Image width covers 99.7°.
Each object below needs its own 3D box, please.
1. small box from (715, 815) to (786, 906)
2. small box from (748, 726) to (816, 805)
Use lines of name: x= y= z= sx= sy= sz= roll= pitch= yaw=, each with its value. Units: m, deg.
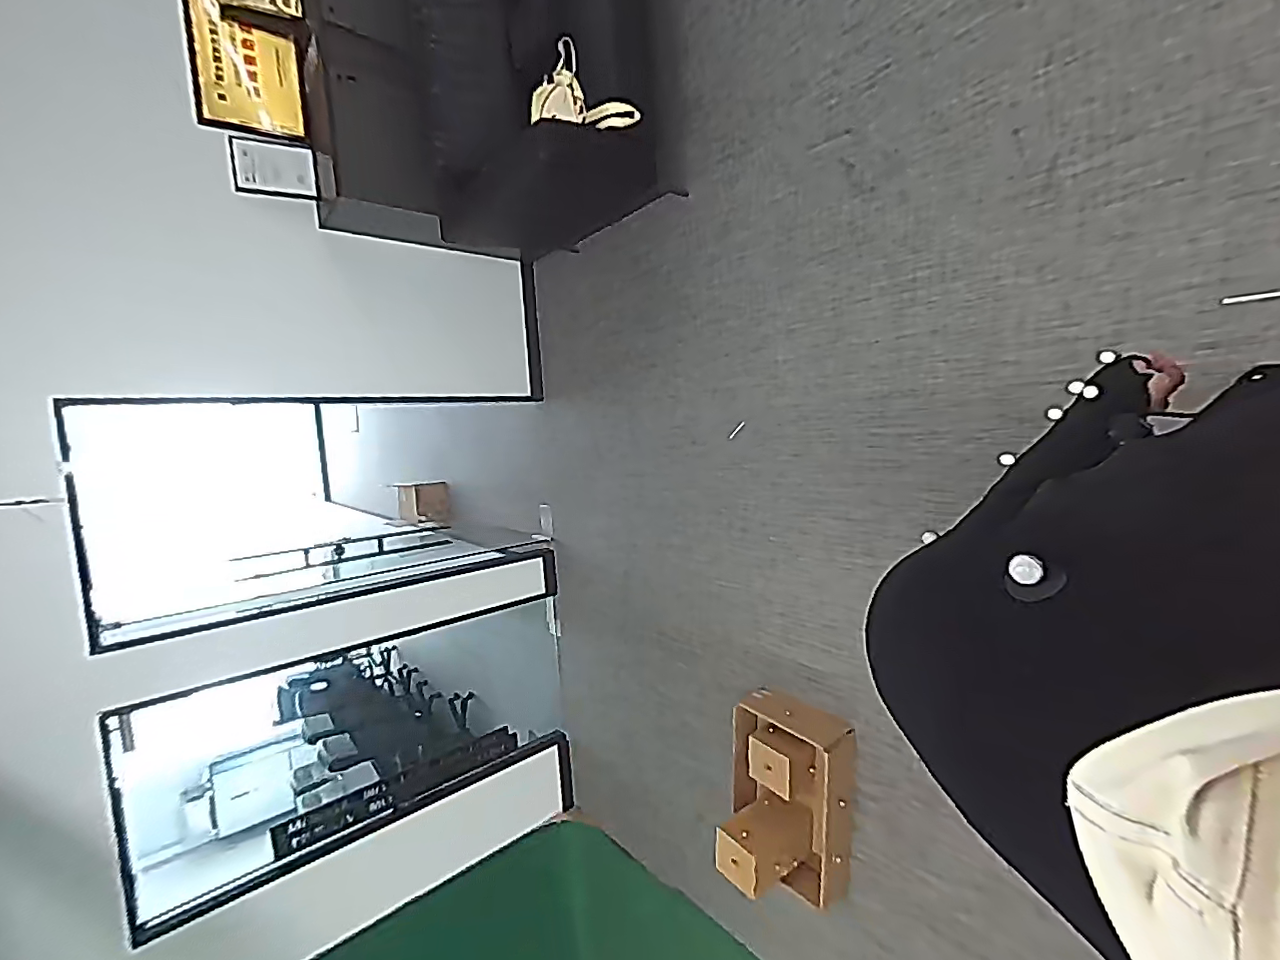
small box: x=0.384 y=1.312 z=1.885 sx=0.179 sy=0.176 sz=0.168 roll=10 pitch=102 yaw=50
small box: x=0.510 y=1.014 z=1.944 sx=0.179 sy=0.176 sz=0.168 roll=9 pitch=103 yaw=49
